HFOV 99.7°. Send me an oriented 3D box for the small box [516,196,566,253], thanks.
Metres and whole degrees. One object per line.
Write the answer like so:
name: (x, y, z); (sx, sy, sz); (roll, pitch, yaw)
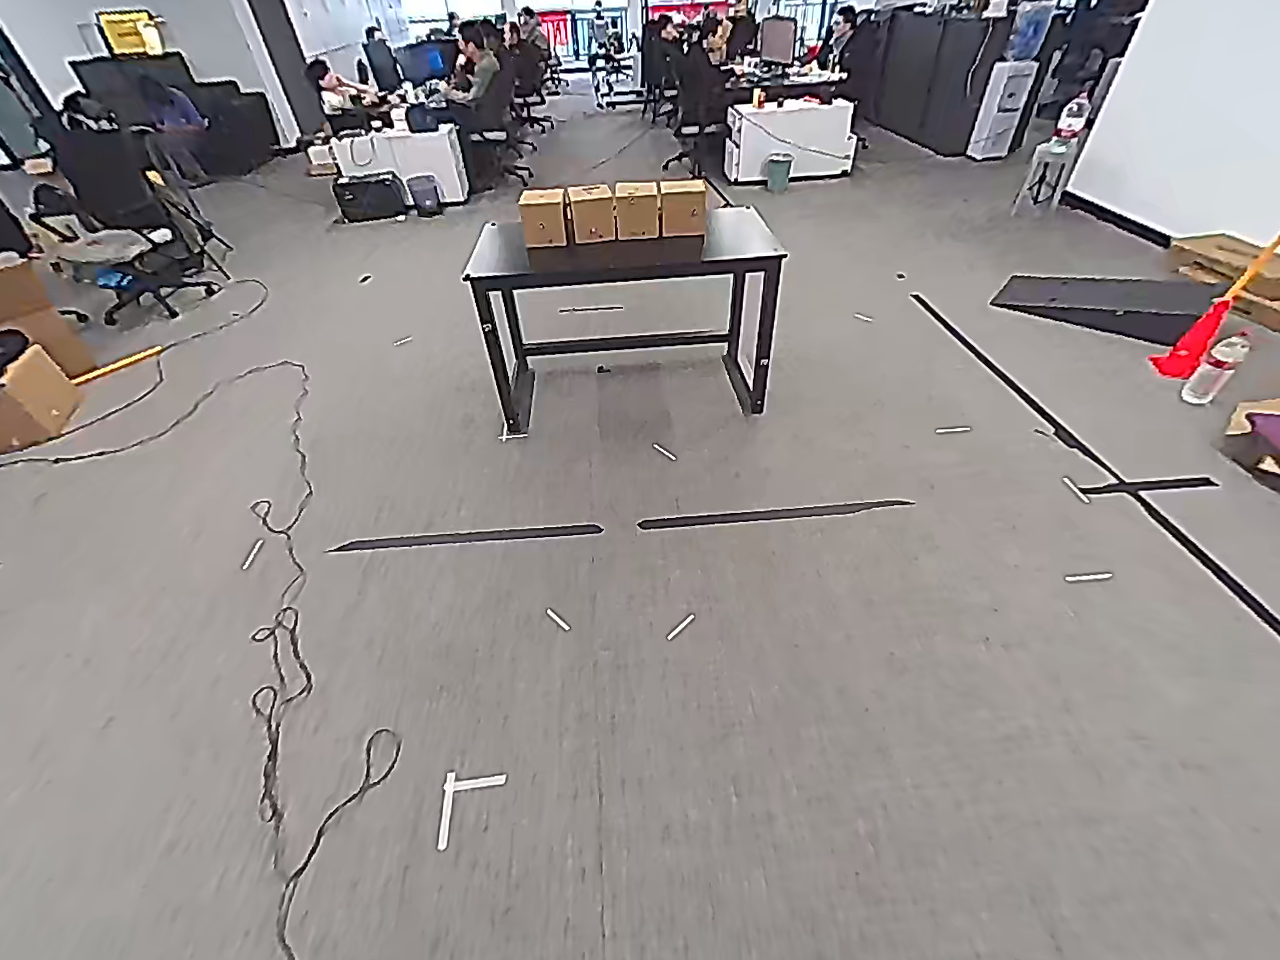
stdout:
small box: (-0.397, -1.039, 2.206); (0.168, 0.176, 0.179); (-3, 42, 0)
